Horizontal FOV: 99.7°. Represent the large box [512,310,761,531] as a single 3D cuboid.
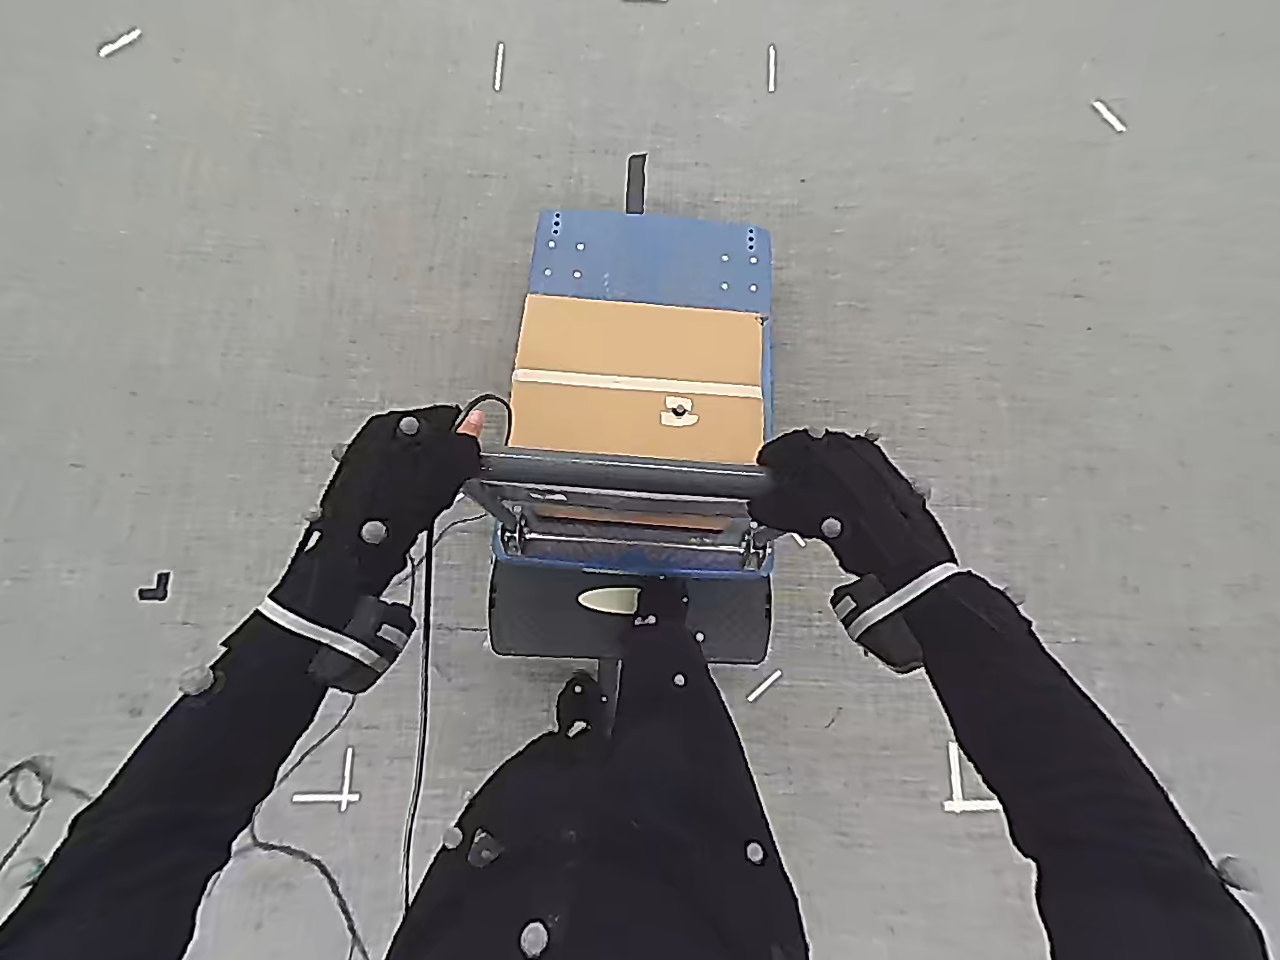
[{"bbox_3d":[-0.008,-0.093,1.040,0.408,0.320,0.320,5,72,-2],"label":"large box"}]
